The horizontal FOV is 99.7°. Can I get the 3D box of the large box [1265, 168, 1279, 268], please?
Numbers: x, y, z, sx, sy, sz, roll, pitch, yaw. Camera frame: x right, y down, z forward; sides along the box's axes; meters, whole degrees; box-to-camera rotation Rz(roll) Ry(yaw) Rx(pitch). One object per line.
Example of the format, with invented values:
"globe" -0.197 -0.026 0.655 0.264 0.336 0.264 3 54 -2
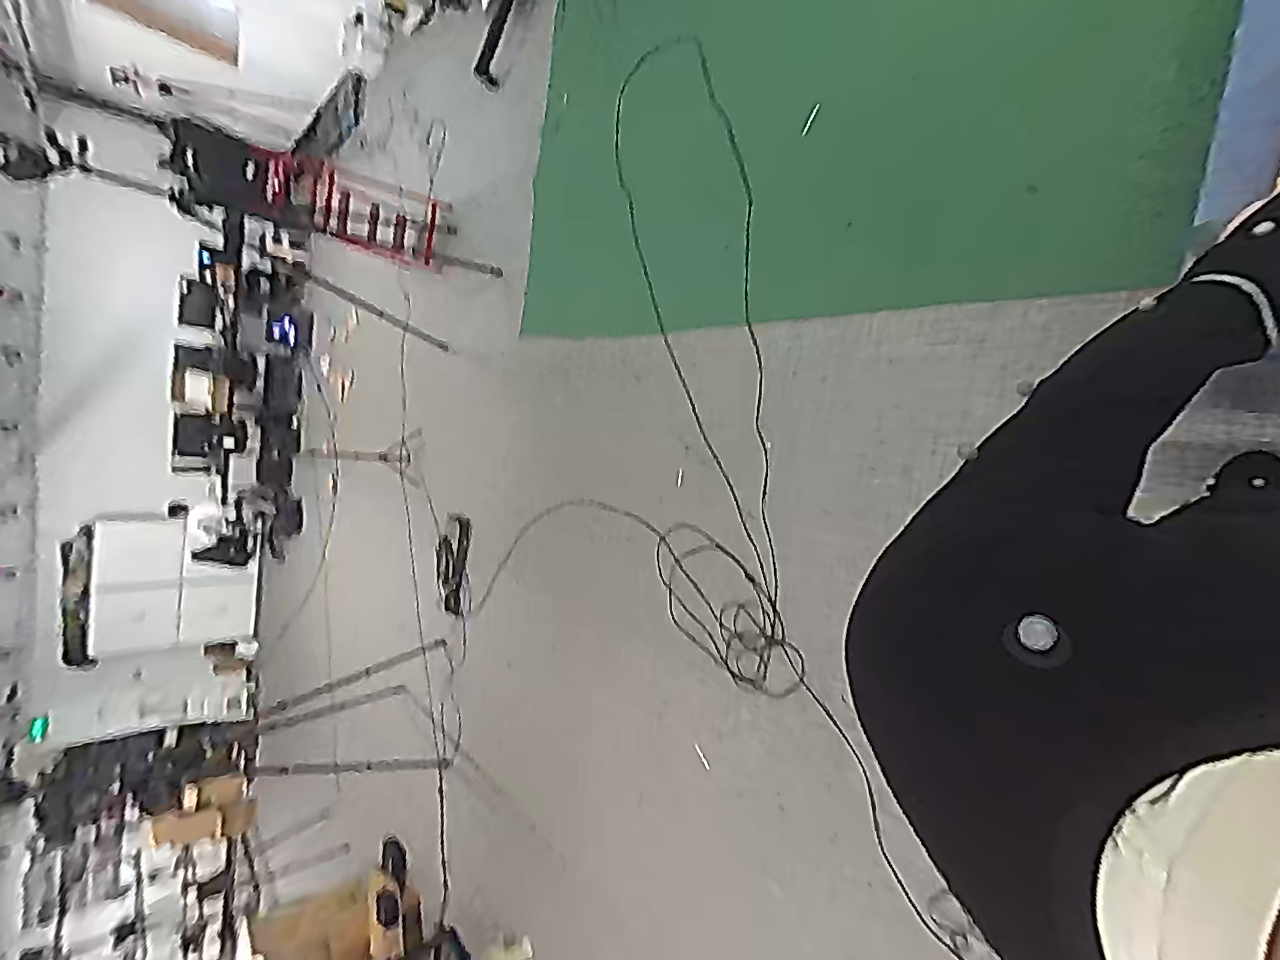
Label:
"large box" 1.158 -0.555 0.752 0.320 0.320 0.408 17 100 45
